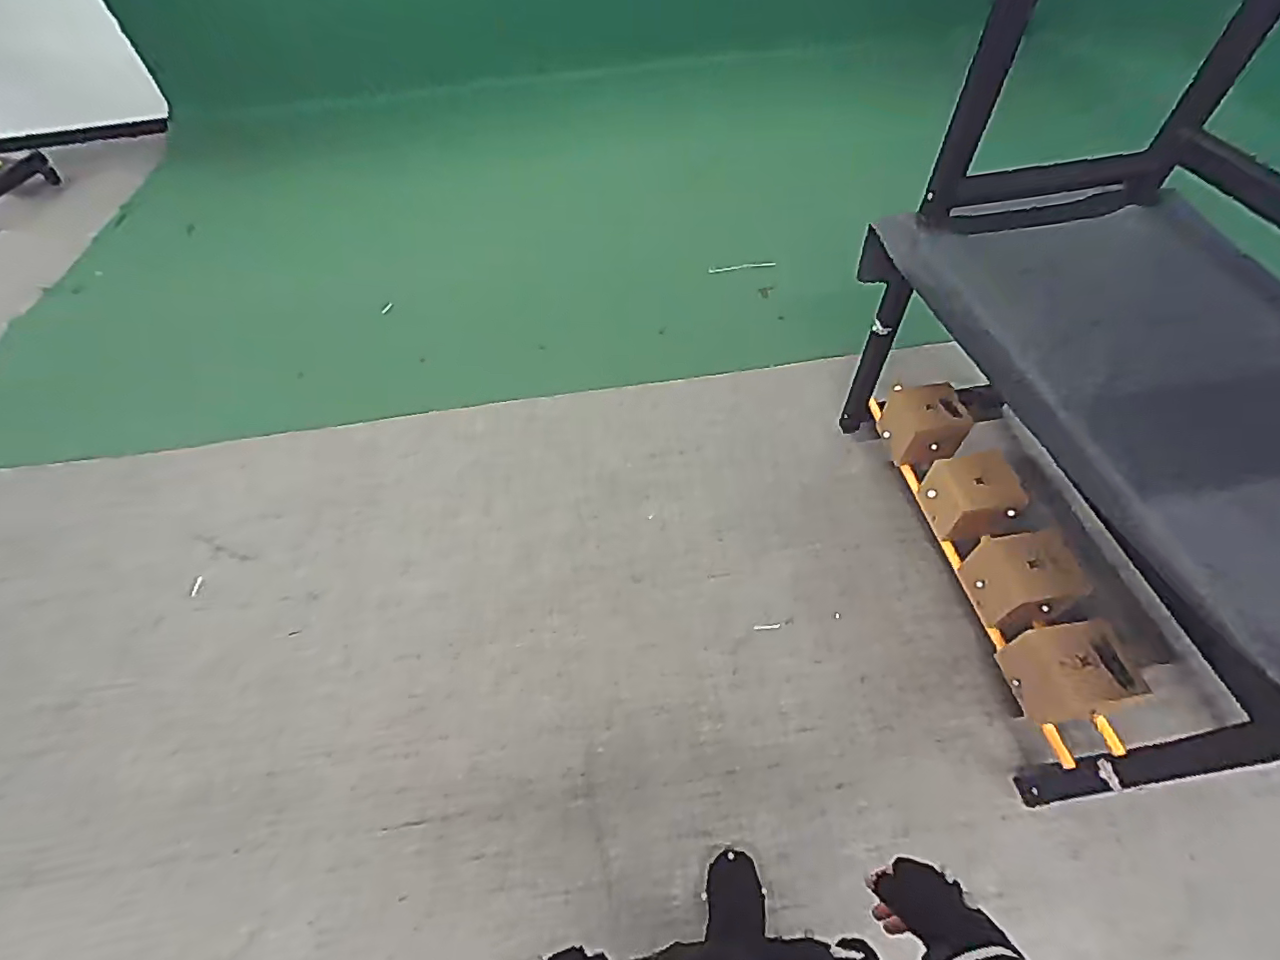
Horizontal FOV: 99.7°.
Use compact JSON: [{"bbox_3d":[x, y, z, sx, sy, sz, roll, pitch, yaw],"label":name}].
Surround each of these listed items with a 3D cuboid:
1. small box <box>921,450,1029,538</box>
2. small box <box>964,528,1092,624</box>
[{"bbox_3d":[0.892,0.043,1.468,0.179,0.176,0.168,-8,55,0],"label":"small box"},{"bbox_3d":[0.930,0.239,1.324,0.179,0.176,0.168,-9,56,-1],"label":"small box"}]
